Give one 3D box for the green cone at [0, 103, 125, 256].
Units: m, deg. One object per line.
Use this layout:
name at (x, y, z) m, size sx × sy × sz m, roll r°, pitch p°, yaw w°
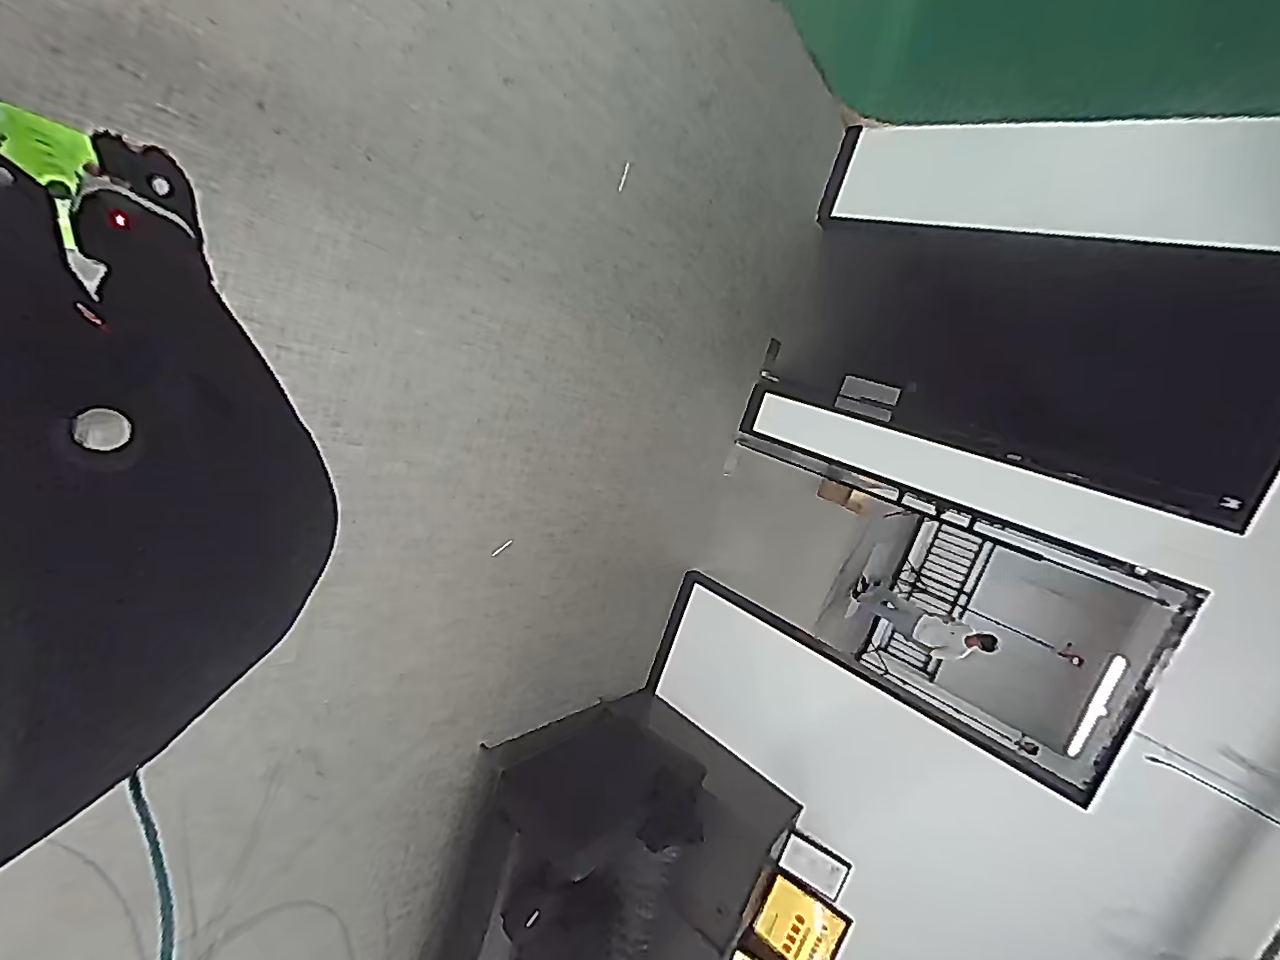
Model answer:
green cone at (-0.912, -0.457, 0.833) m, size 0.202 × 0.368 × 0.200 m, roll 3°, pitch 108°, yaw -51°
